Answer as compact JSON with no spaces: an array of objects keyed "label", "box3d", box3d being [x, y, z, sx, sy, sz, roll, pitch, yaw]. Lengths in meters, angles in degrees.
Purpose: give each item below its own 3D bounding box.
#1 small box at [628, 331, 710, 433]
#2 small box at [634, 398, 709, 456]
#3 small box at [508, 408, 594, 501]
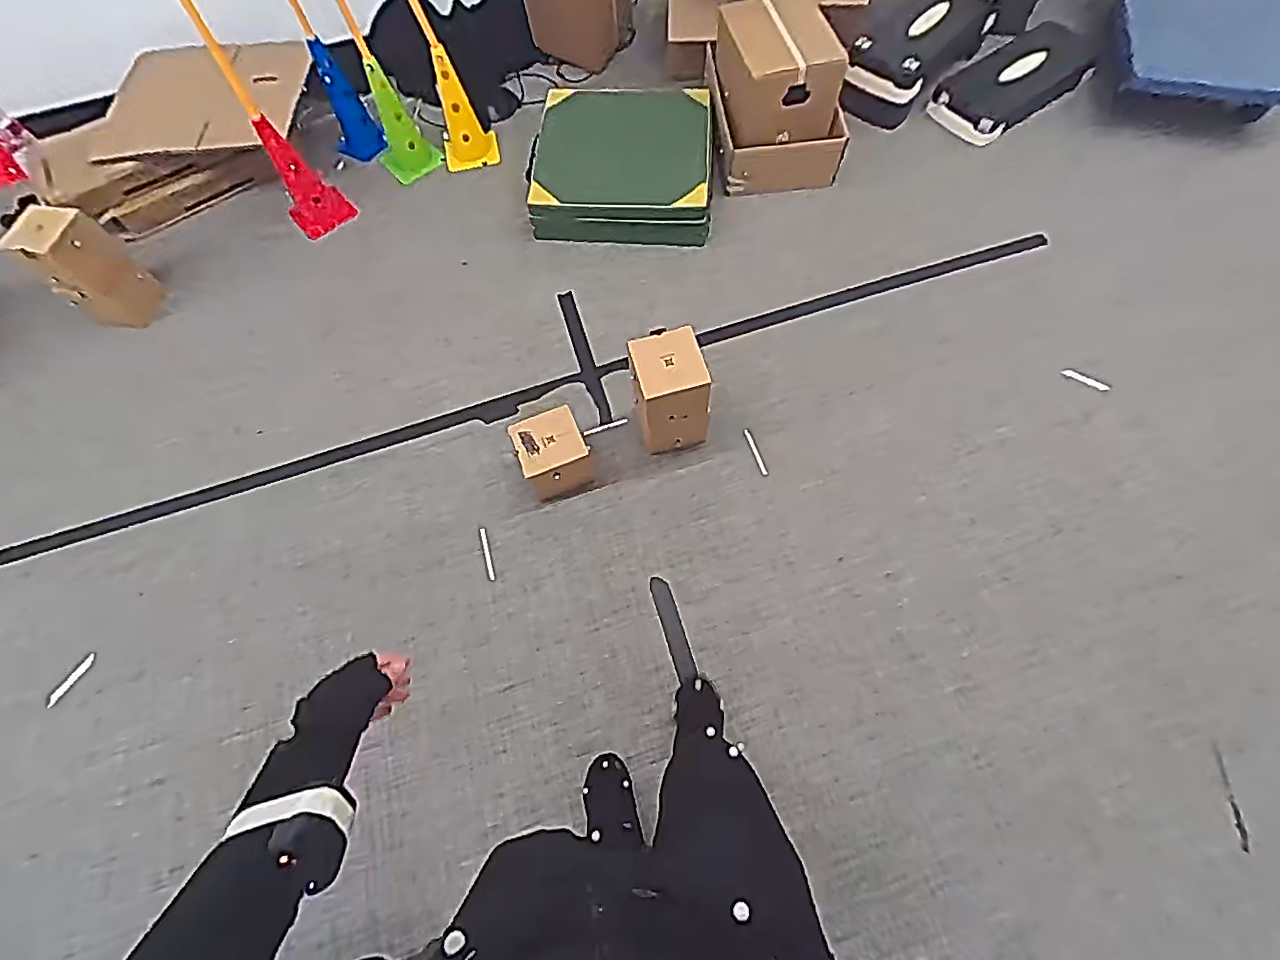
[{"label":"small box","box3d":[0.070,-0.245,1.380,0.168,0.176,0.179,-14,68,-3]},{"label":"small box","box3d":[0.083,-0.188,1.532,0.179,0.176,0.168,-13,66,-5]},{"label":"small box","box3d":[-0.239,-0.064,1.490,0.179,0.176,0.168,-22,68,-8]}]
